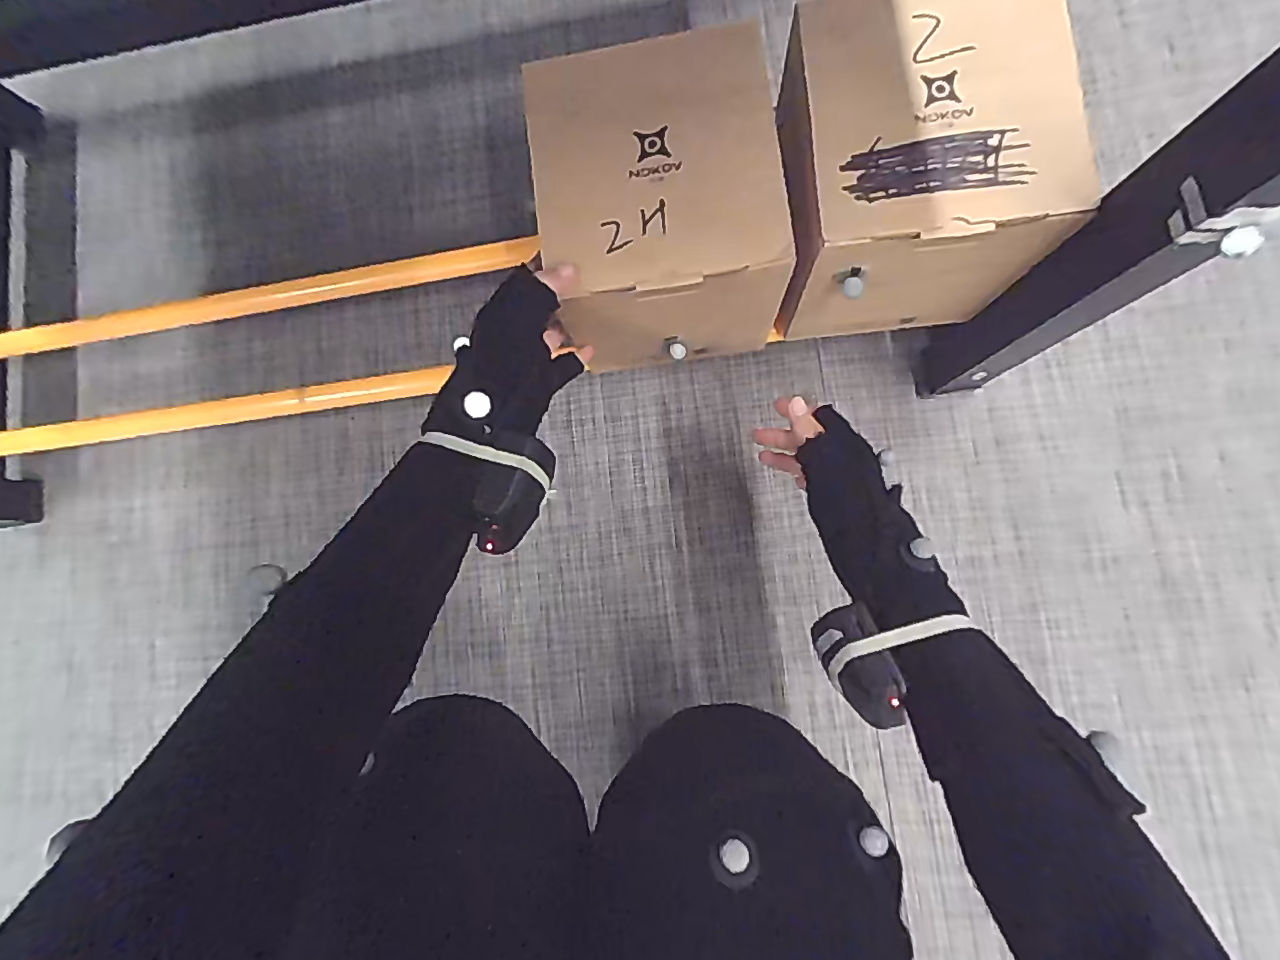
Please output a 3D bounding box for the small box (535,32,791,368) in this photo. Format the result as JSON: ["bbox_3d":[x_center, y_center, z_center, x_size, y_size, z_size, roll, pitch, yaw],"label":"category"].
[{"bbox_3d":[0.019,-0.210,0.452,0.168,0.176,0.179,-7,84,5],"label":"small box"}]
